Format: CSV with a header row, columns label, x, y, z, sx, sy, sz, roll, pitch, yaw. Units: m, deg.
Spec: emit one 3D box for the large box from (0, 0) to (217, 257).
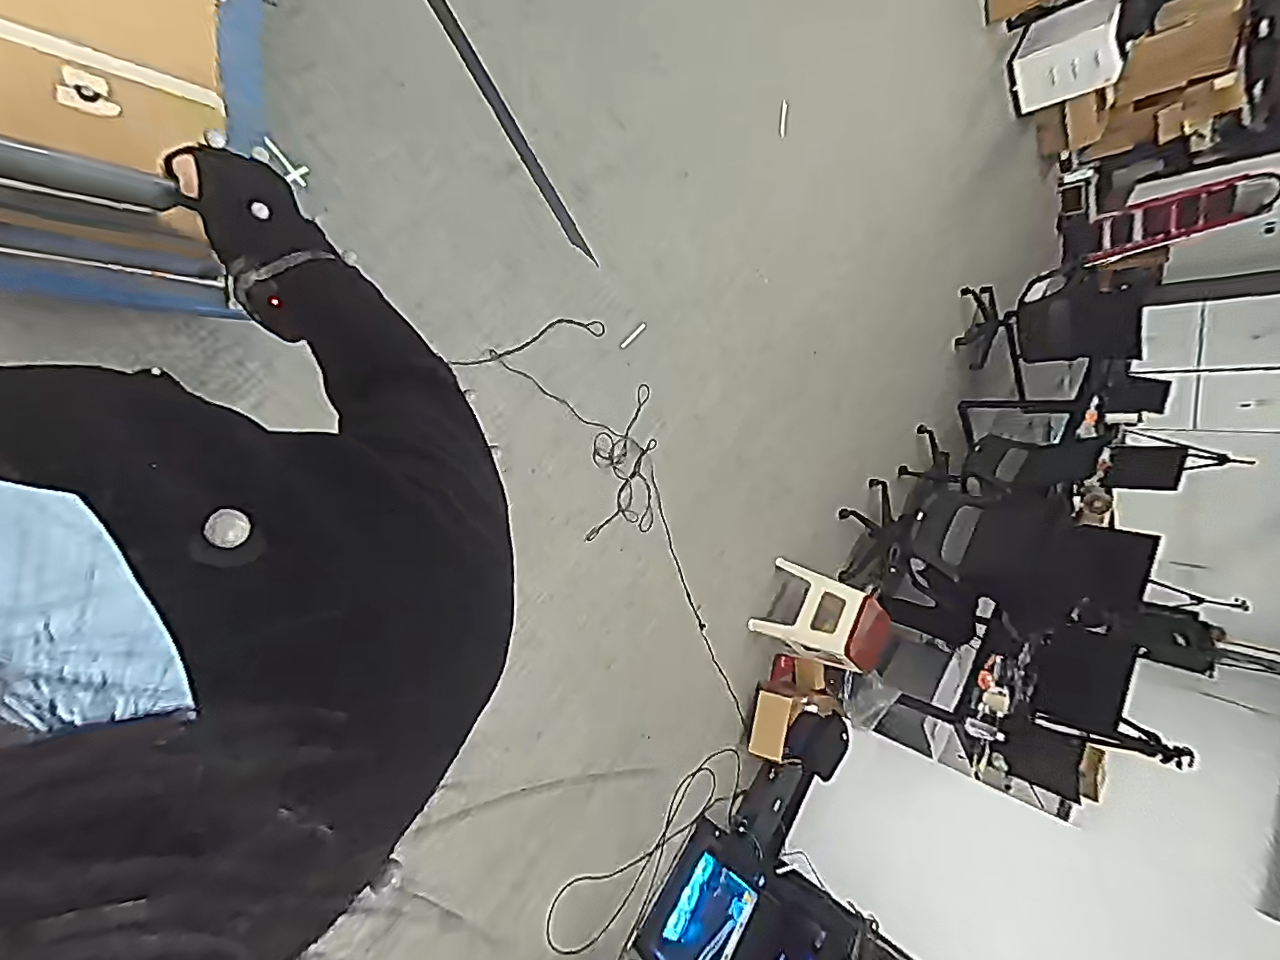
label,x,y,z,sx,sy,sz,roll,pitch,yaw
large box,-0.865,-0.545,0.753,0.408,0.320,0.320,-2,97,-43
